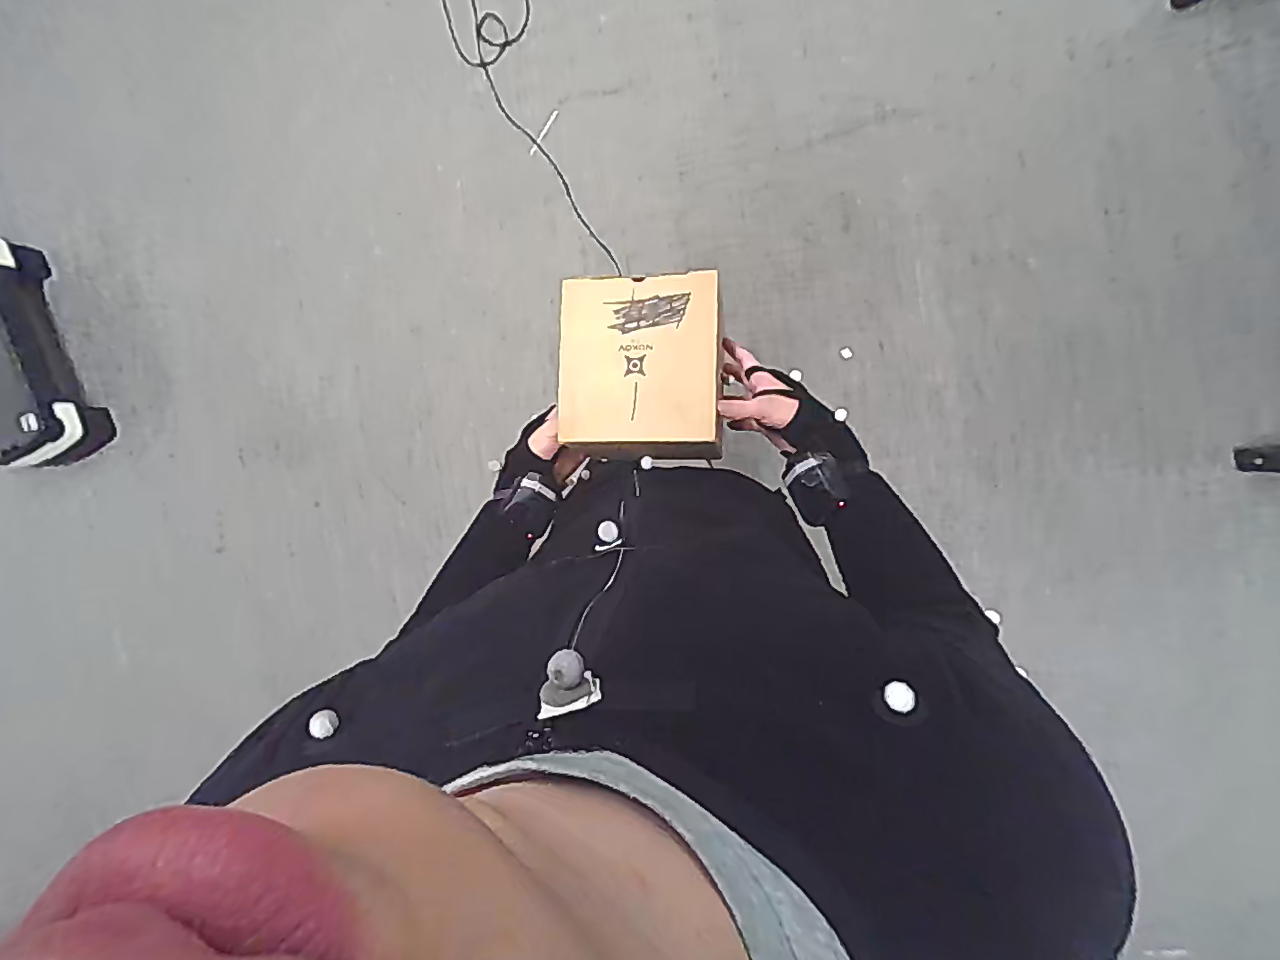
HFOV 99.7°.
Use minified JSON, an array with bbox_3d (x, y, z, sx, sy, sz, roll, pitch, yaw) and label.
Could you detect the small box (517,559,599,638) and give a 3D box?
[{"bbox_3d":[-0.226,0.329,1.529,0.179,0.176,0.168,-10,94,7],"label":"small box"}]
